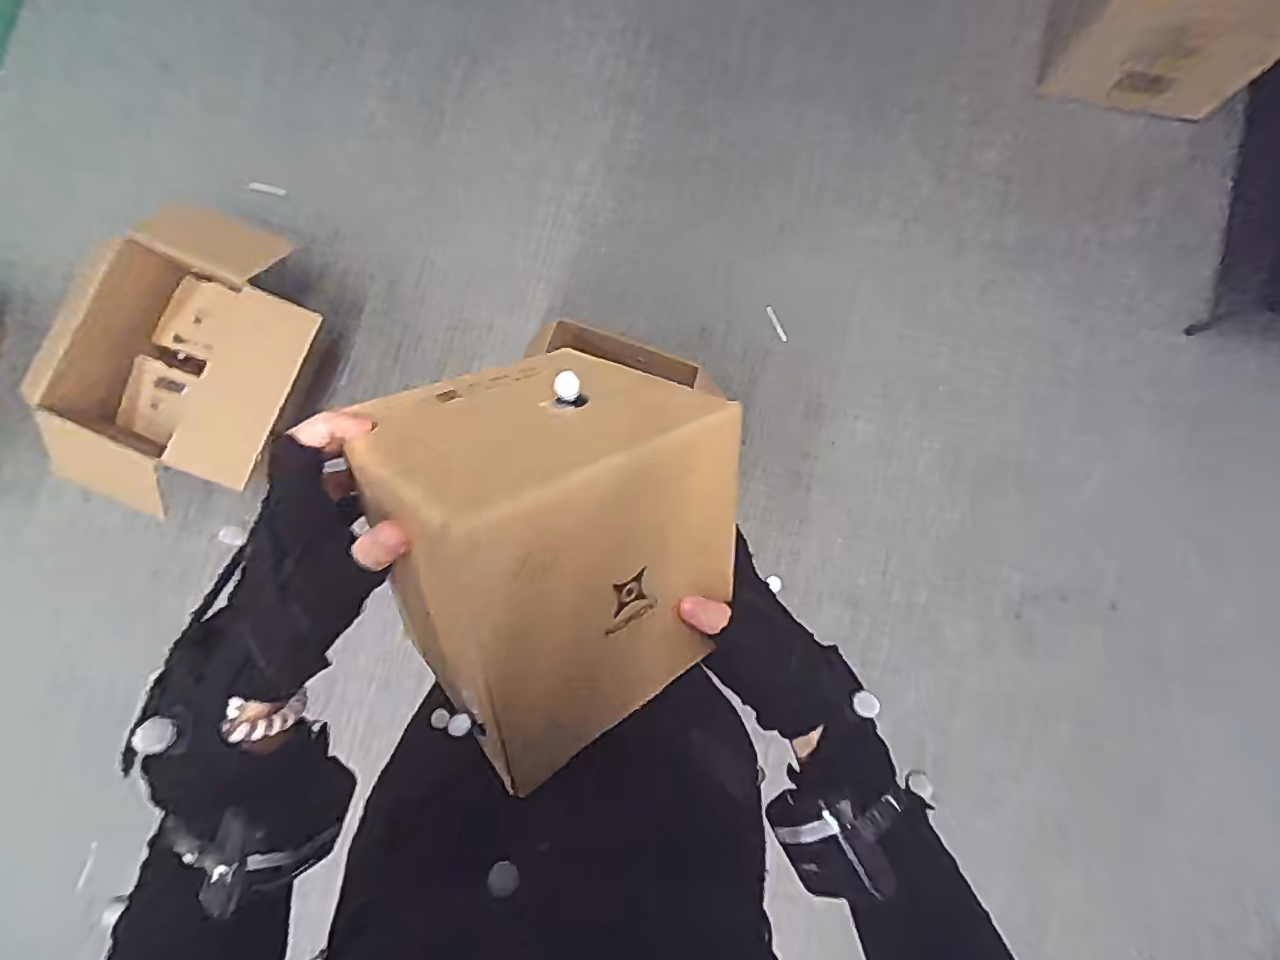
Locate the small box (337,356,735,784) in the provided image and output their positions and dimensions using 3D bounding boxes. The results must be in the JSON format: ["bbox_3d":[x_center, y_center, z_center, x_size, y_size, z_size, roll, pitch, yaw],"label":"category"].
[{"bbox_3d":[-0.060,0.031,0.340,0.168,0.179,0.176,-27,40,-33],"label":"small box"}]
